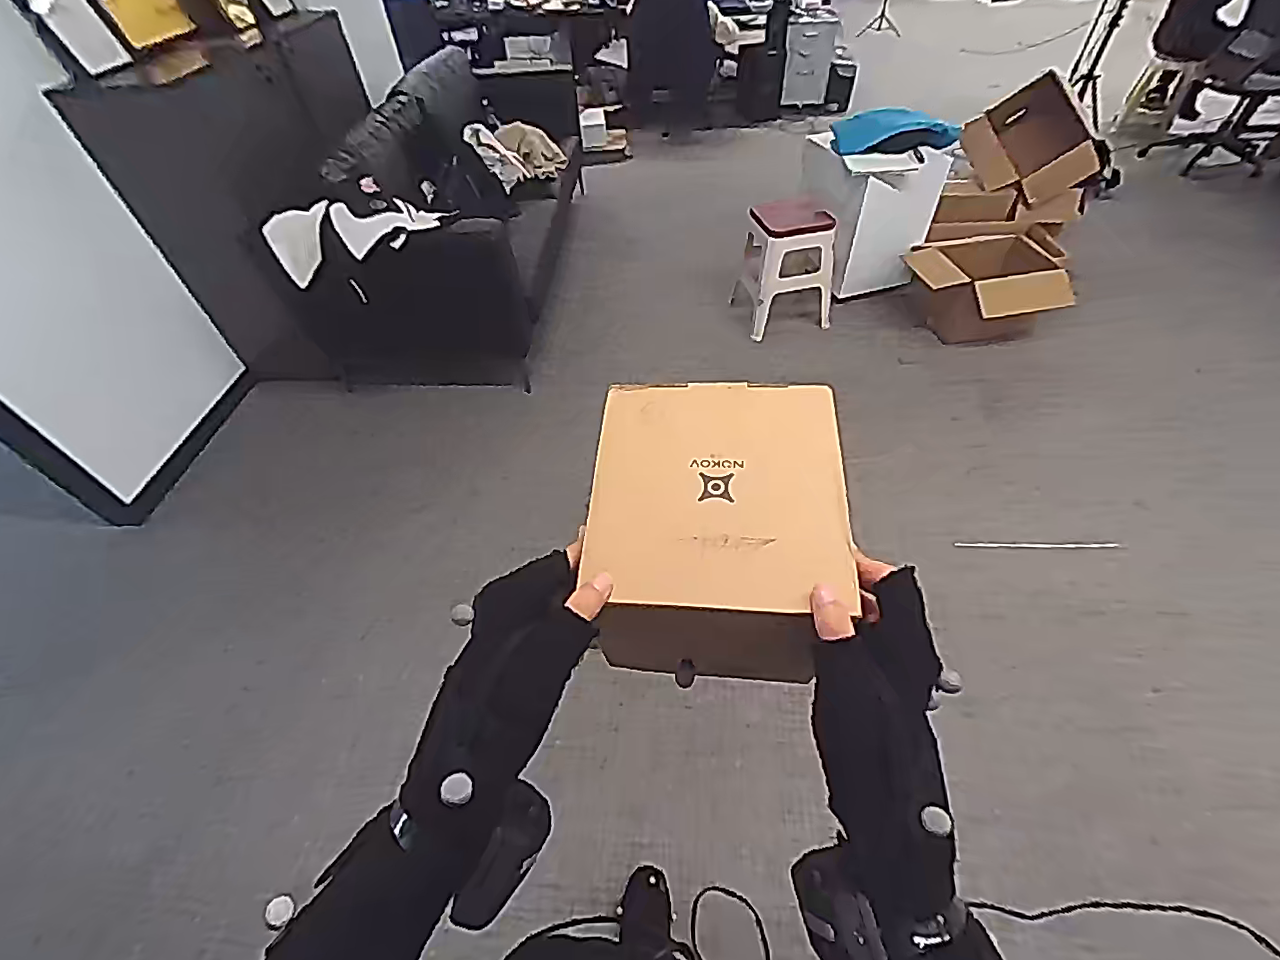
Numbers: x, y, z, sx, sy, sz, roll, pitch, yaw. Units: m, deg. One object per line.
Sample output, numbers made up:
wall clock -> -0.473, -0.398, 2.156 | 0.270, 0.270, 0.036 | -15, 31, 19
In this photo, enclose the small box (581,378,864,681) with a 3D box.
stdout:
small box -> 0.059, 0.042, 0.422 | 0.168, 0.176, 0.179 | 1, 58, 7
